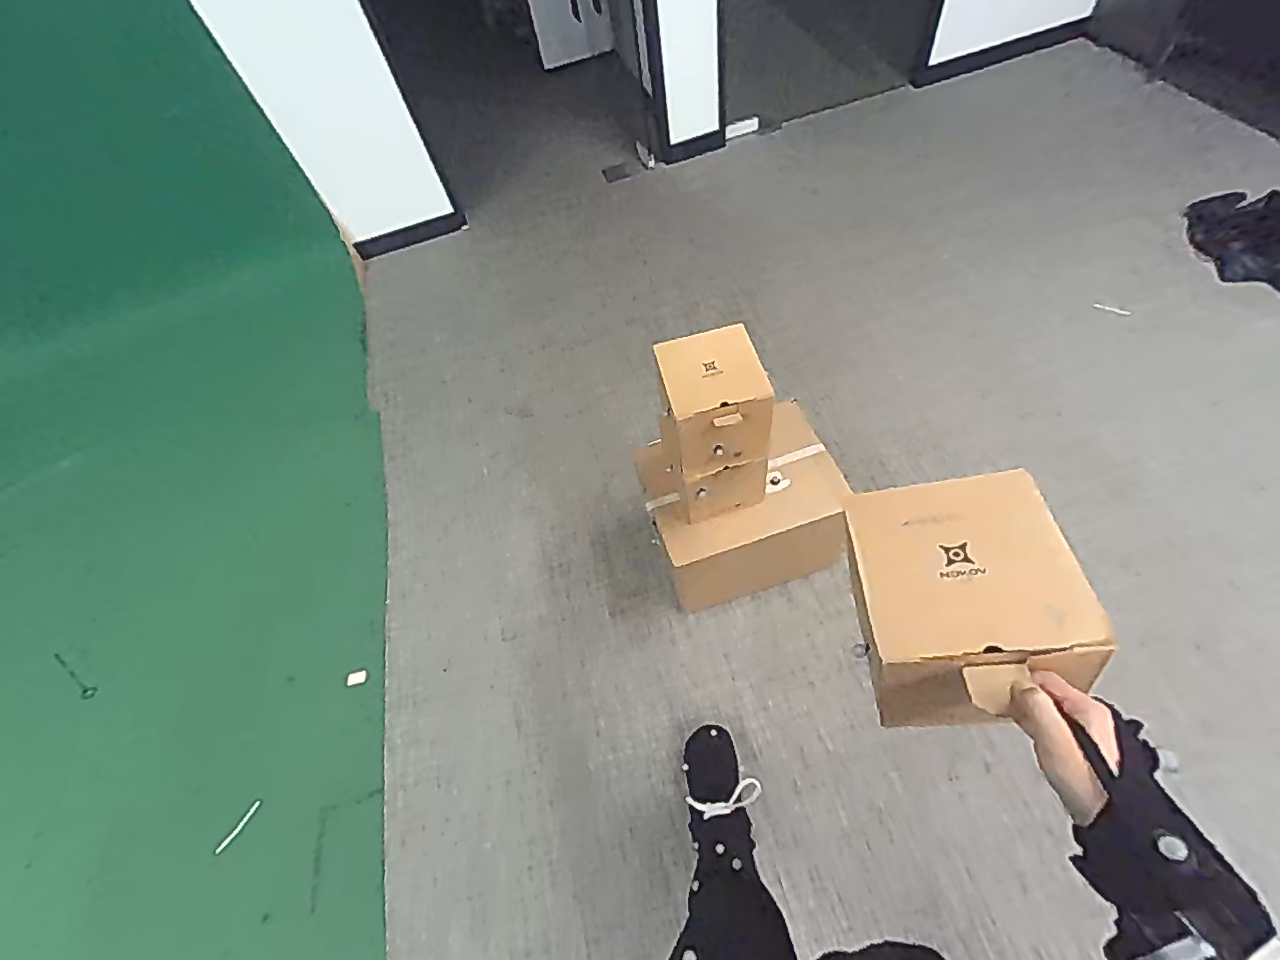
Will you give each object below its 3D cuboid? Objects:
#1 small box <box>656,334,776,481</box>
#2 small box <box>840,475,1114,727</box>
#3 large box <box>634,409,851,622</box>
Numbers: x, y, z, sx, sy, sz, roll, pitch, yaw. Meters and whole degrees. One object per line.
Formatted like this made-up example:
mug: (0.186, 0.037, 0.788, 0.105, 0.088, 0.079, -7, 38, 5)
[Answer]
small box: (0.130, -0.126, 0.964, 0.168, 0.176, 0.179, -14, 56, 0)
small box: (0.298, 0.125, 0.519, 0.168, 0.176, 0.179, -10, 45, 16)
large box: (0.233, 0.093, 1.295, 0.408, 0.320, 0.320, -18, 57, -3)
